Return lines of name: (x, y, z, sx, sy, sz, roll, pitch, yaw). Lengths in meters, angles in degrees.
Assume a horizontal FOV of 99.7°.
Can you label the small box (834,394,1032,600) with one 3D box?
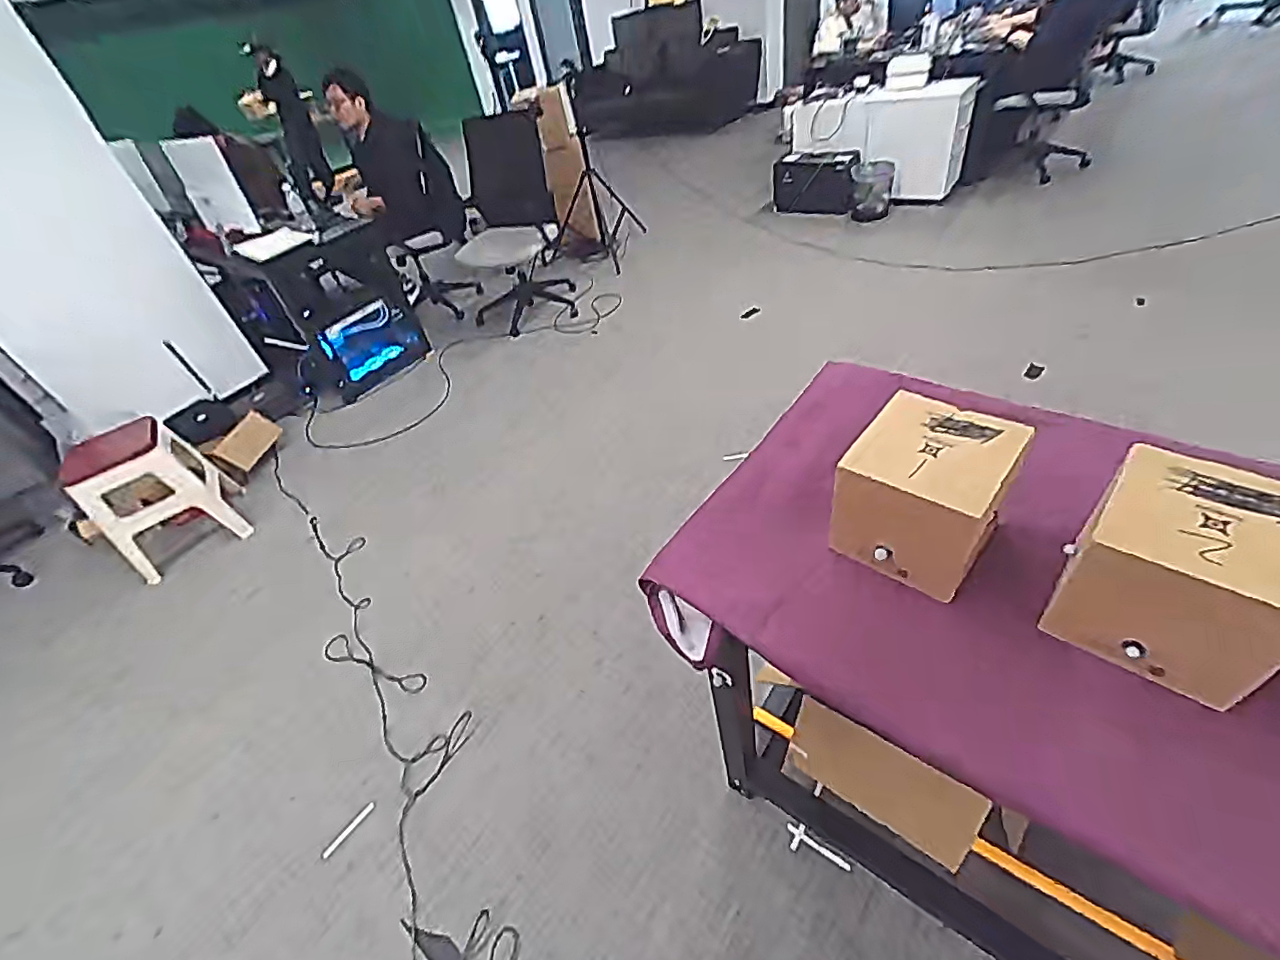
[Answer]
small box: (0.371, 0.019, 0.713, 0.168, 0.176, 0.179, 27, 57, 36)
